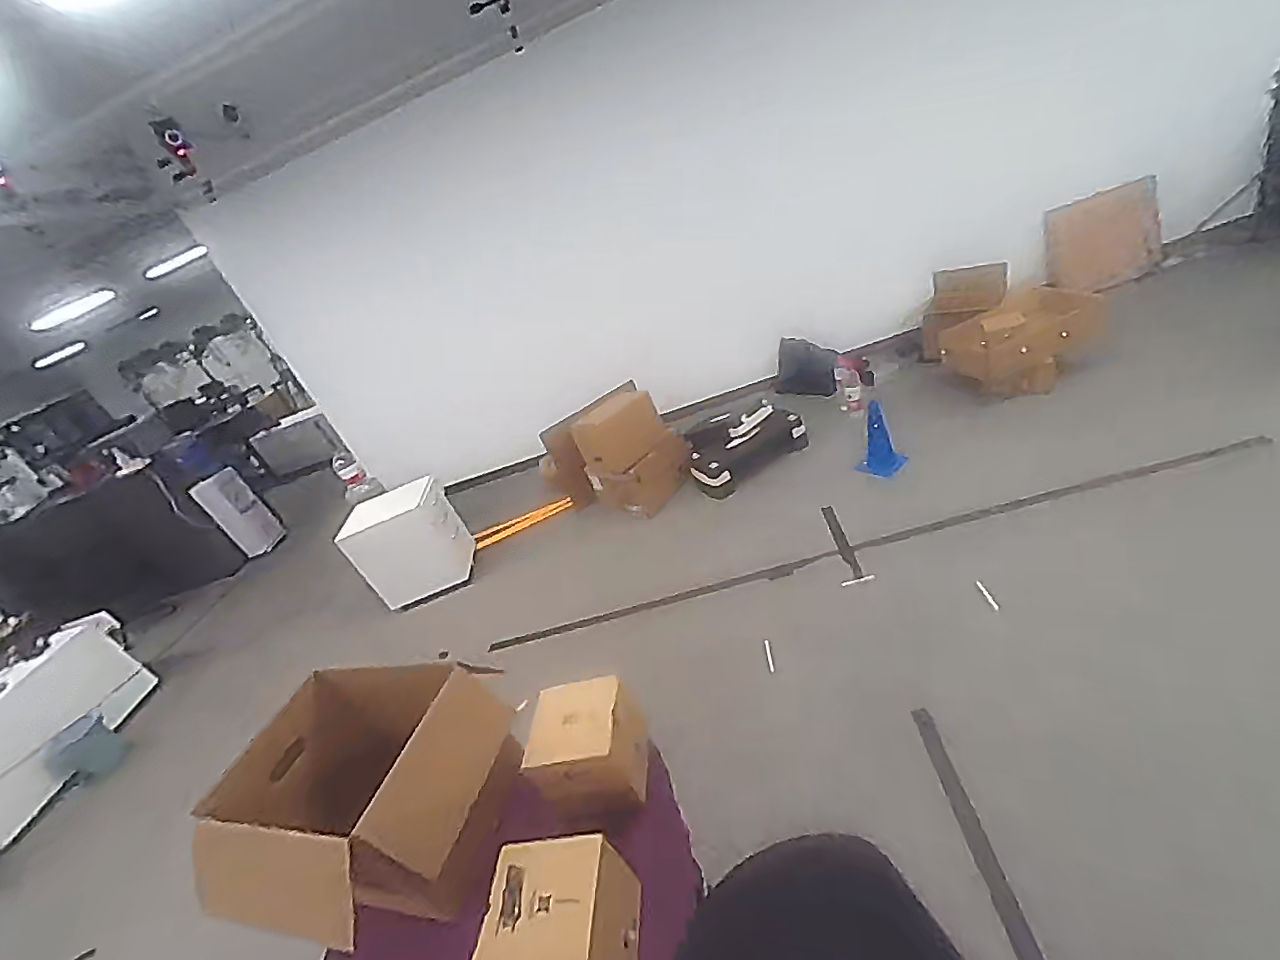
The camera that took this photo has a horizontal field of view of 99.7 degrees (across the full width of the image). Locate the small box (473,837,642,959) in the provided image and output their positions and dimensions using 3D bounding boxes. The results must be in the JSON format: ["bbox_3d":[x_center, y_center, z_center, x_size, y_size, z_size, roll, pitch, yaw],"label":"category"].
[{"bbox_3d":[-0.113,0.662,0.795,0.179,0.176,0.168,-16,30,14],"label":"small box"}]

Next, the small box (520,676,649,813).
[{"bbox_3d":[-0.097,0.511,1.036,0.179,0.176,0.168,-17,30,15],"label":"small box"}]
